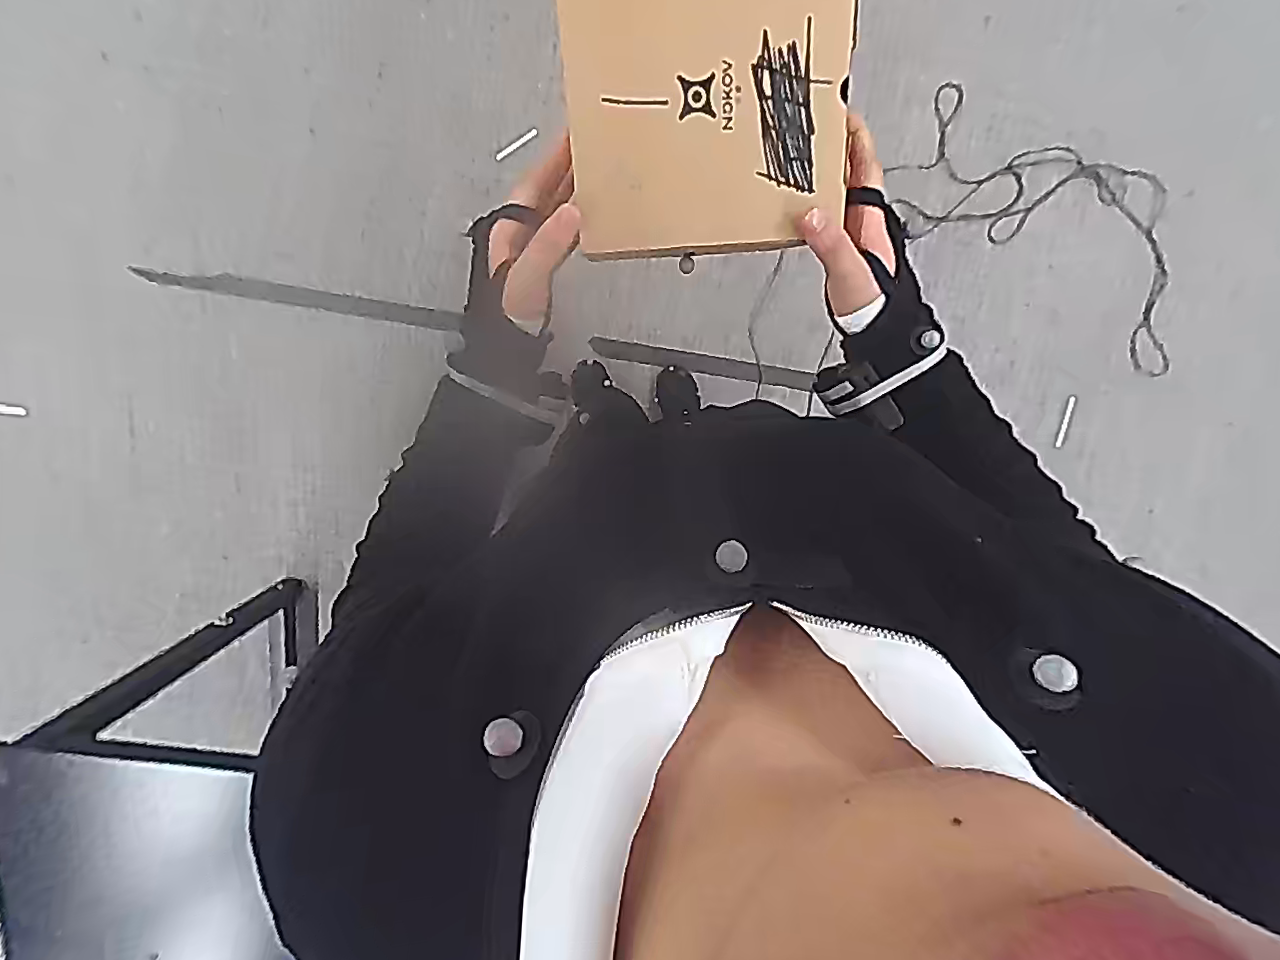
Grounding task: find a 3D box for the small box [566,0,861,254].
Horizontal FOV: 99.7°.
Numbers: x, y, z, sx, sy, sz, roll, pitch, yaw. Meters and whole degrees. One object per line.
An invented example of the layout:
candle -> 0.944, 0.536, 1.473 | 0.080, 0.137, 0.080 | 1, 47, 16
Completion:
small box -> 0.041, -0.263, 0.404 | 0.179, 0.176, 0.168 | -3, 110, -1
